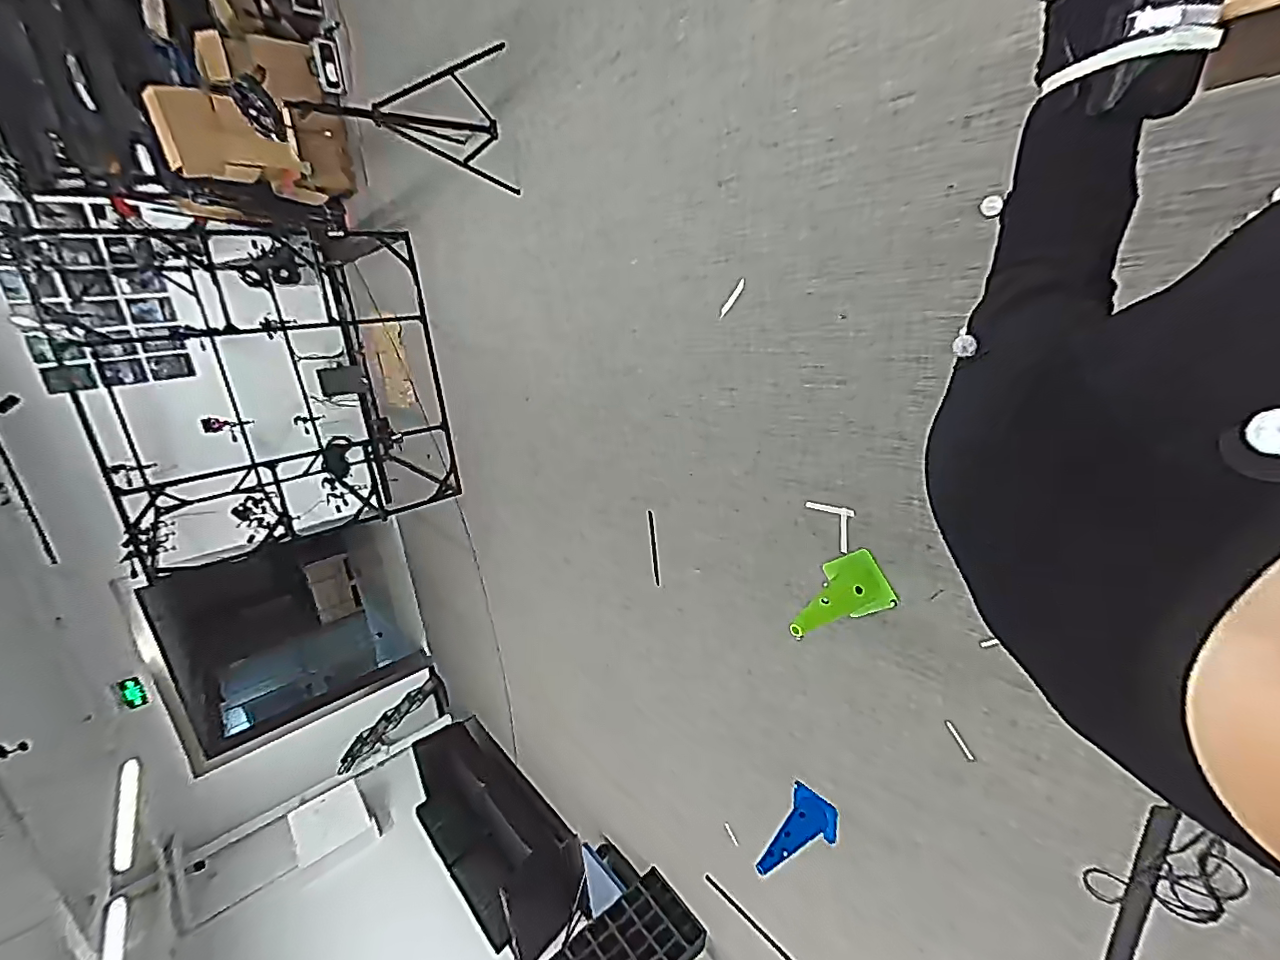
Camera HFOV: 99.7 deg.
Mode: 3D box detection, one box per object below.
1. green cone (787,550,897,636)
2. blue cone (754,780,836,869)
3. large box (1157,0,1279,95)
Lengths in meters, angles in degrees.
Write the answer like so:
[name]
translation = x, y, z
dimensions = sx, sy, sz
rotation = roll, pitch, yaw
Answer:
[green cone]
translation = 0.586, 0.383, 1.672
dimensions = 0.200, 0.368, 0.202
rotation = 63, 145, 12
[blue cone]
translation = 0.598, 1.410, 2.148
dimensions = 0.192, 0.380, 0.193
rotation = 21, 121, 48
[large box]
translation = 0.559, -0.448, 0.258
dimensions = 0.408, 0.320, 0.320
rotation = 14, 119, 46
